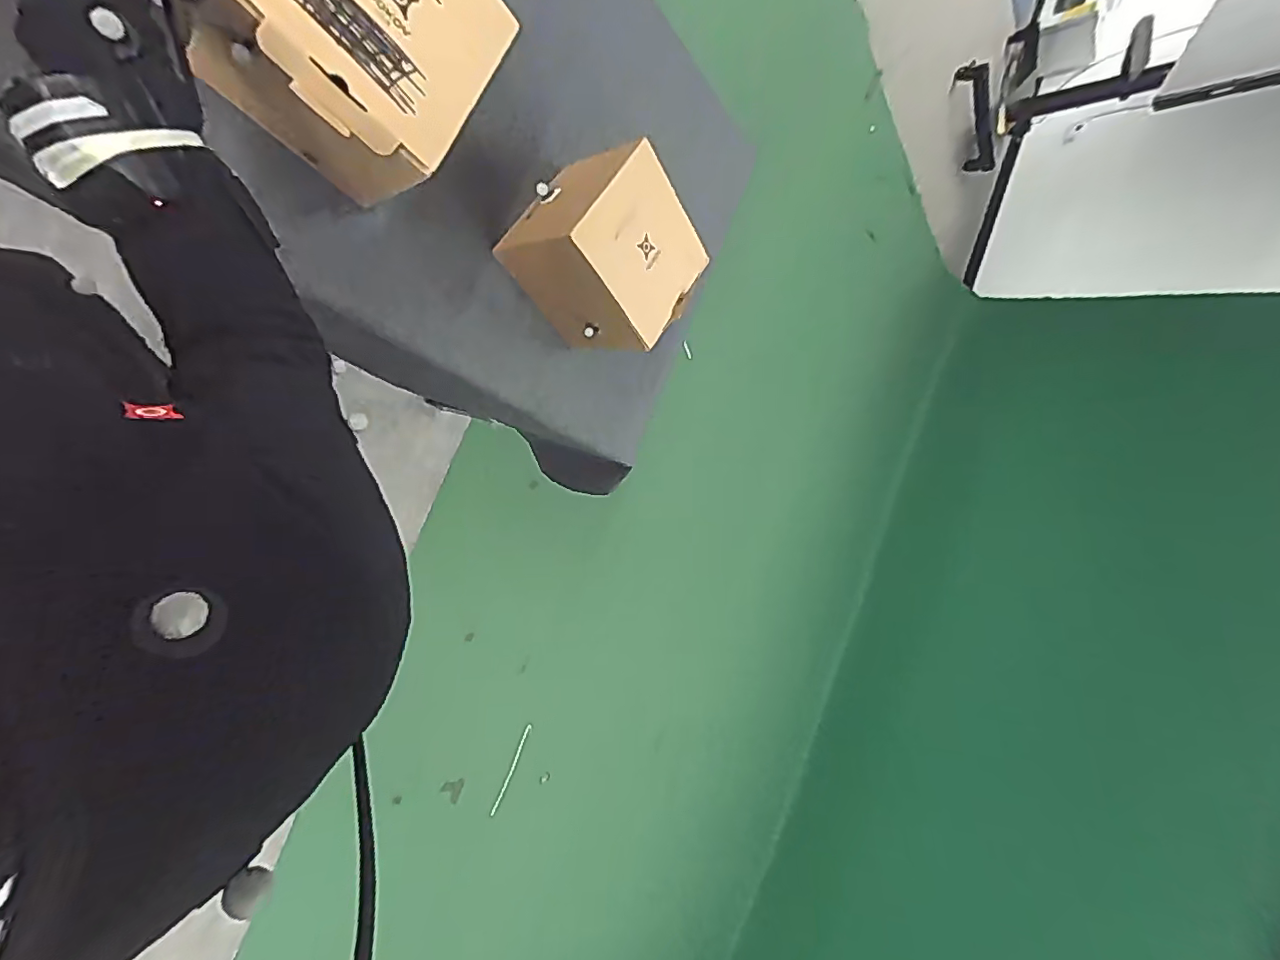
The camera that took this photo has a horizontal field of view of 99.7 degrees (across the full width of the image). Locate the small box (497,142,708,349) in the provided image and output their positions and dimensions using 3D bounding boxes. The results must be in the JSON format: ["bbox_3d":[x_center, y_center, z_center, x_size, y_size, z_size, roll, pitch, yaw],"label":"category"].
[{"bbox_3d":[-0.048,-0.295,0.709,0.179,0.176,0.168,47,67,-41],"label":"small box"}]
